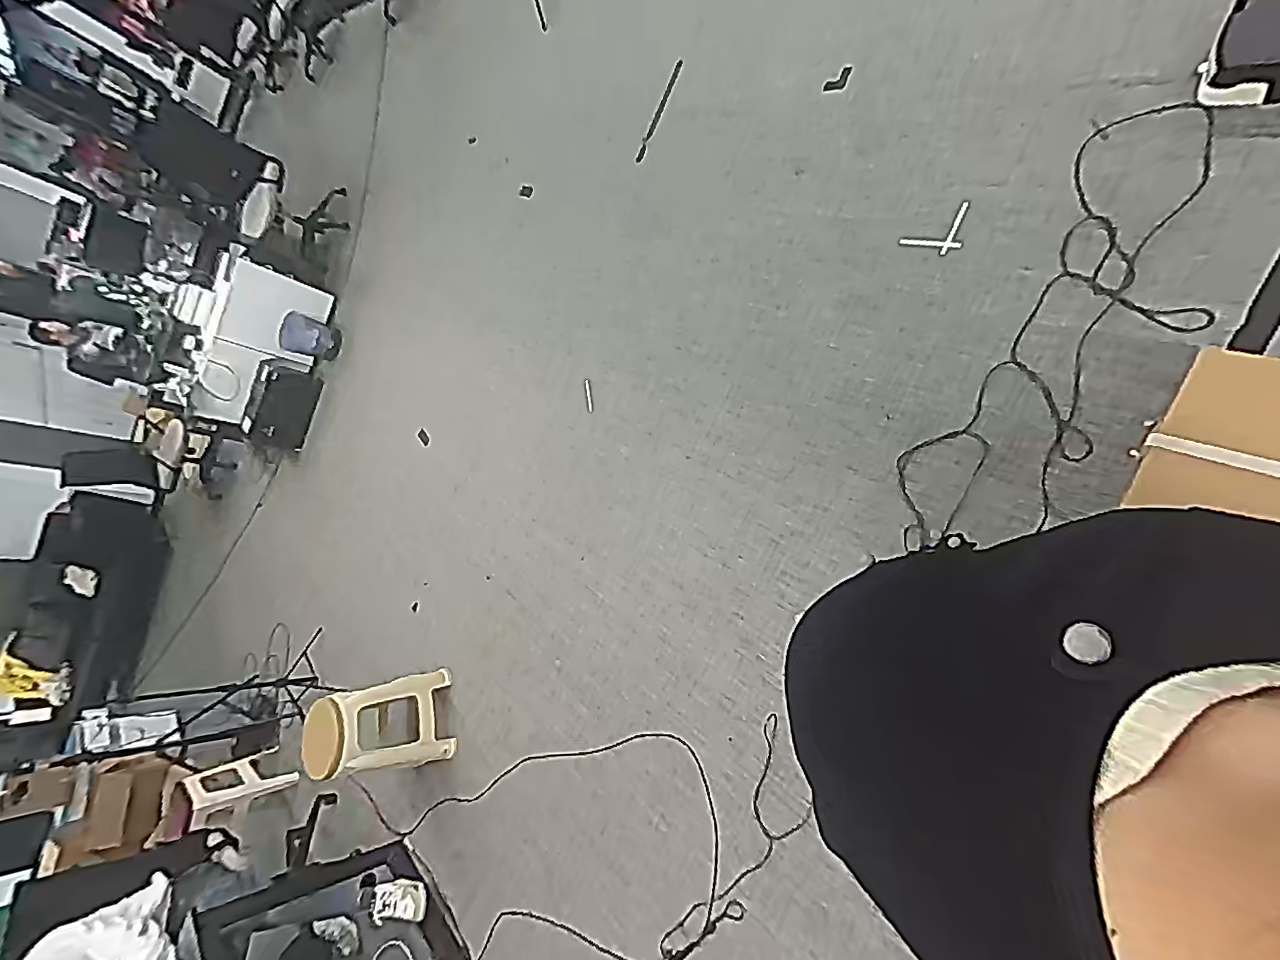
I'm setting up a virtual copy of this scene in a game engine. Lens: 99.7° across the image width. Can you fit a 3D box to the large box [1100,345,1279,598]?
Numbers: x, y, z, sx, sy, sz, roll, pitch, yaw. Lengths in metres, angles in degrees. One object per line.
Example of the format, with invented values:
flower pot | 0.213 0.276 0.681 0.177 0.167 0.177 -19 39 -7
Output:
large box | 1.038 0.021 0.847 0.408 0.320 0.320 27 98 37
